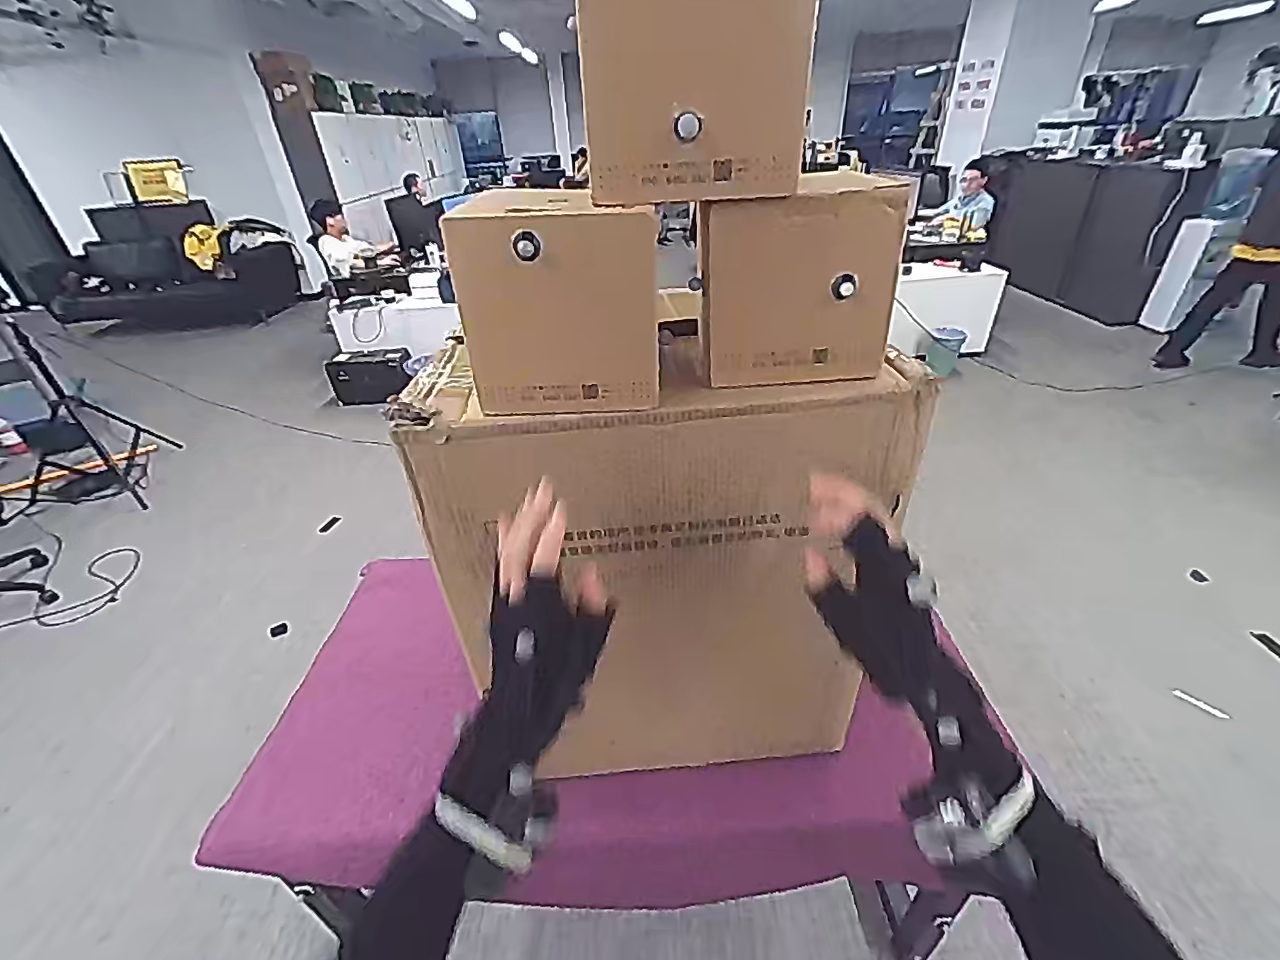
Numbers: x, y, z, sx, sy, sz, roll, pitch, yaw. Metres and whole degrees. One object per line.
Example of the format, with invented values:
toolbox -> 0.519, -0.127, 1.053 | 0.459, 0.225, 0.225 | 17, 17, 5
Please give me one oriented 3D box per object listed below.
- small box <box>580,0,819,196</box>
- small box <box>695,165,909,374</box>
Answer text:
small box -> 0.040, -0.340, 0.452 | 0.168, 0.176, 0.179 | -3, 33, 1
small box -> 0.144, -0.212, 0.547 | 0.168, 0.176, 0.179 | -2, 31, 3
